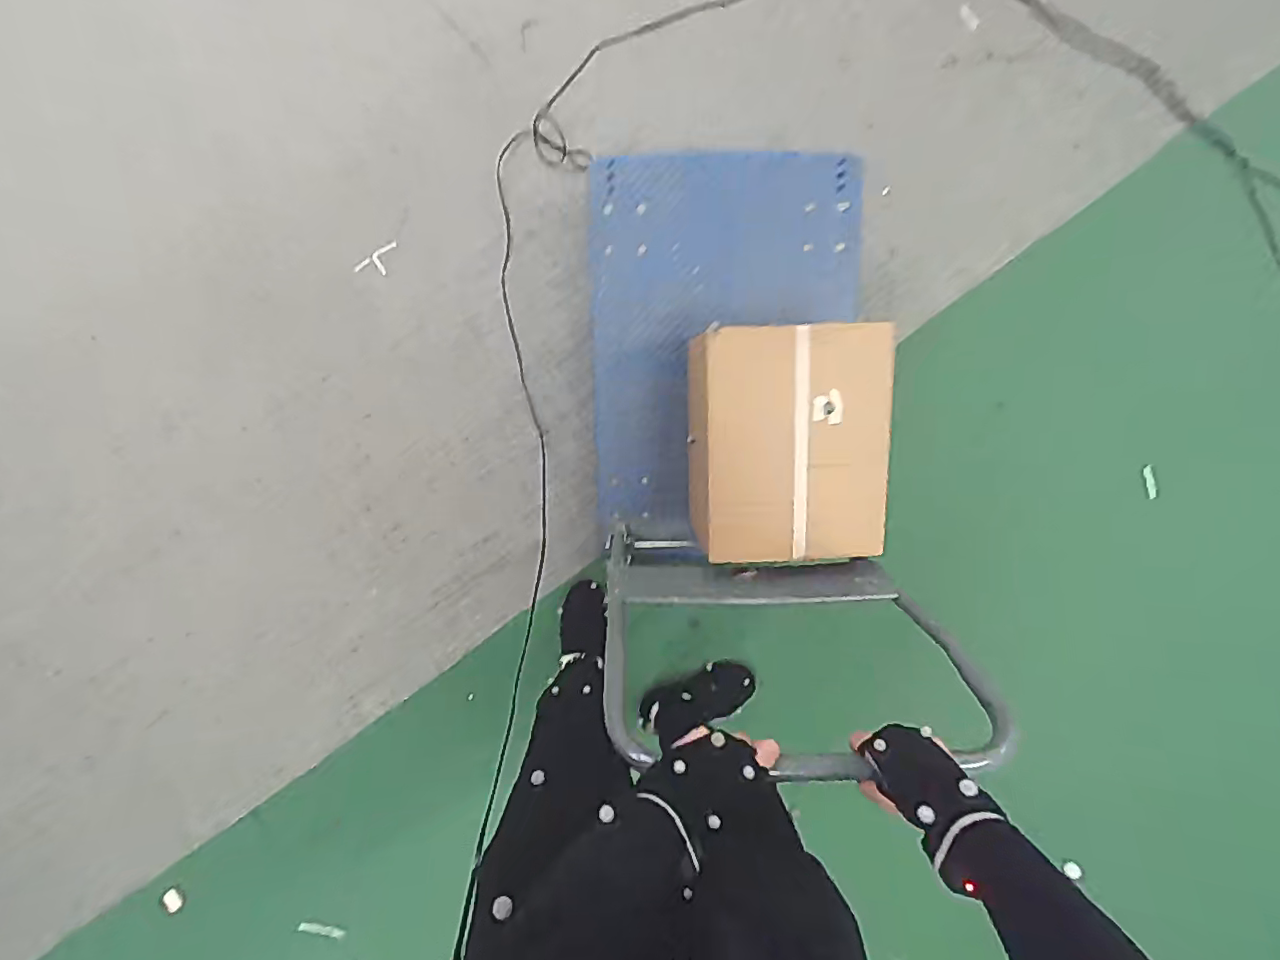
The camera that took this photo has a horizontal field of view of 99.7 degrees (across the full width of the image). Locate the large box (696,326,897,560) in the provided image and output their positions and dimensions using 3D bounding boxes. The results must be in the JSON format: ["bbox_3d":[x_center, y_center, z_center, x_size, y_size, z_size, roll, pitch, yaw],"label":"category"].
[{"bbox_3d":[0.278,-0.079,1.072,0.320,0.320,0.408,-1,100,-1],"label":"large box"}]
